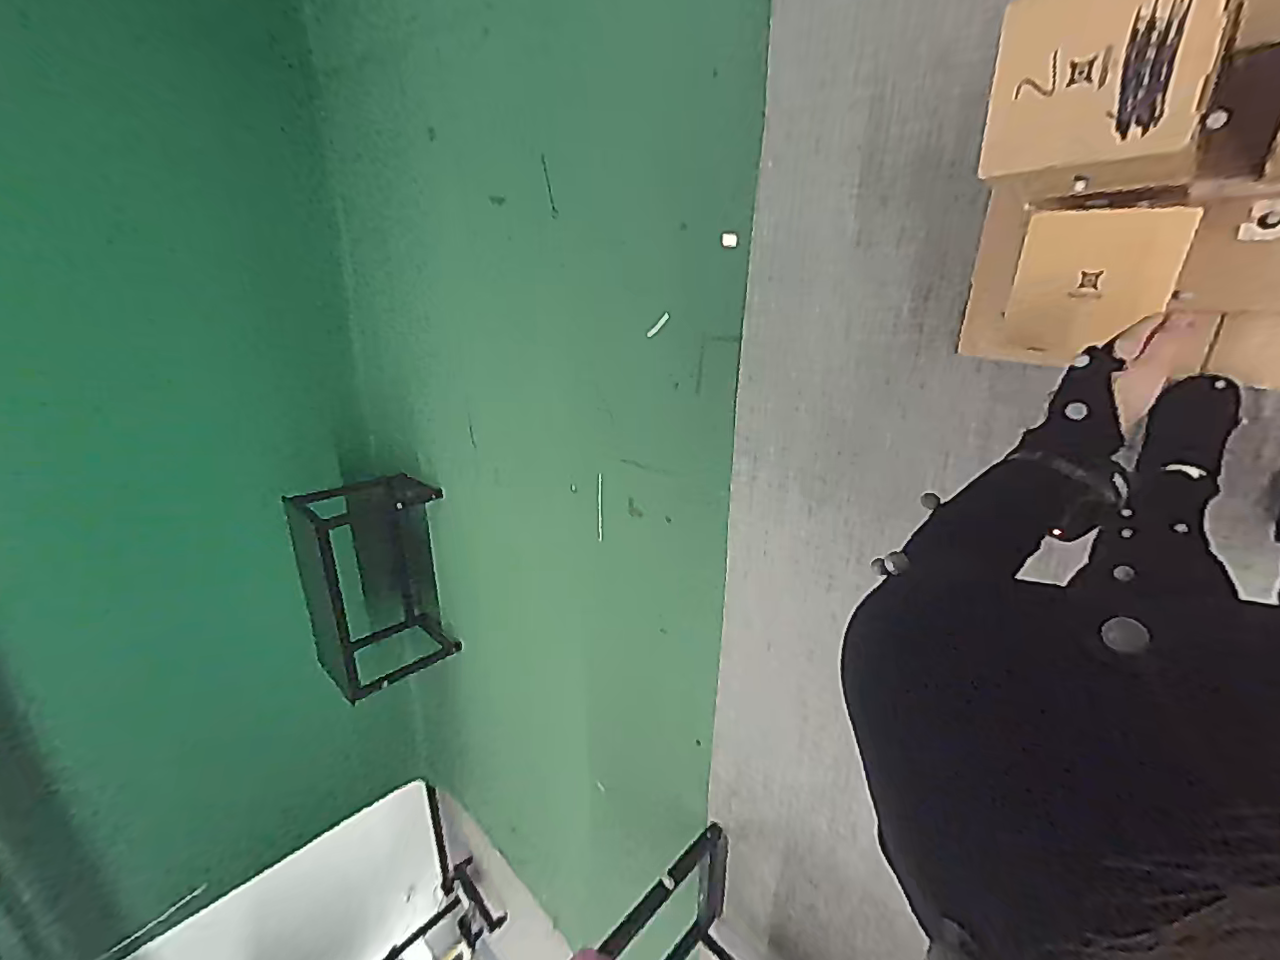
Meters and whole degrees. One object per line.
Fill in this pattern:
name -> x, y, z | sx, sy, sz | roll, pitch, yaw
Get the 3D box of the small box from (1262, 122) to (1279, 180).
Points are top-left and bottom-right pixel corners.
small box -> 0.783, -0.405, 0.538 | 0.179, 0.176, 0.168 | 24, 120, 41
